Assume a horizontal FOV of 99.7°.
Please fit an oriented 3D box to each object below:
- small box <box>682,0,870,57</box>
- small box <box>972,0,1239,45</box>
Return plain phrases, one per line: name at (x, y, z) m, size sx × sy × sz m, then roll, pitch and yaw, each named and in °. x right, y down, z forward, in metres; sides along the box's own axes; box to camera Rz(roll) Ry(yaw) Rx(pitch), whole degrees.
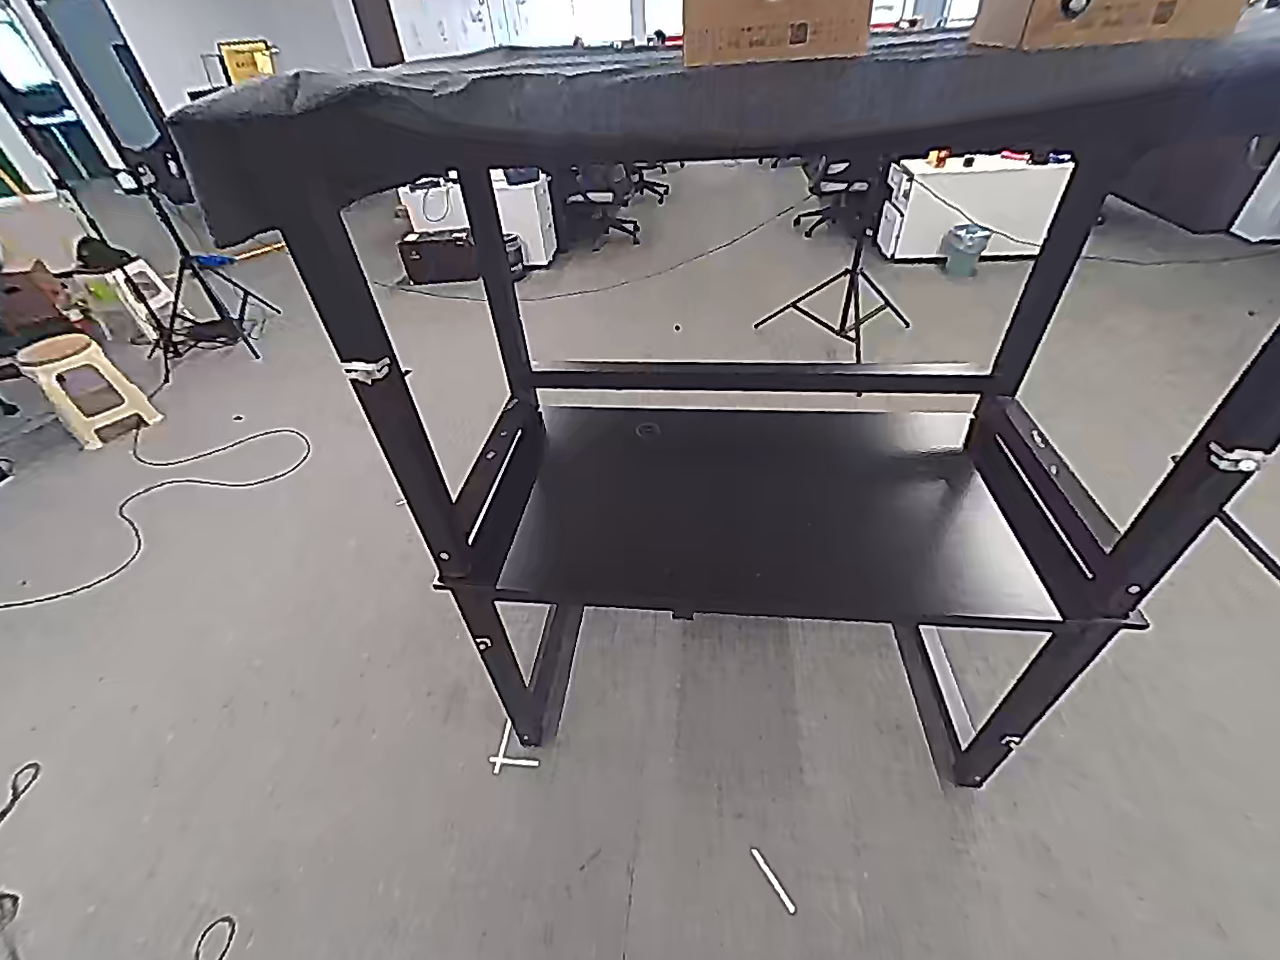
small box at (0.126, -0.504, 0.505) m, size 0.168 × 0.176 × 0.179 m, roll 2°, pitch 39°, yaw 8°
small box at (0.424, -0.497, 0.474) m, size 0.168 × 0.176 × 0.179 m, roll 4°, pitch 40°, yaw 10°
